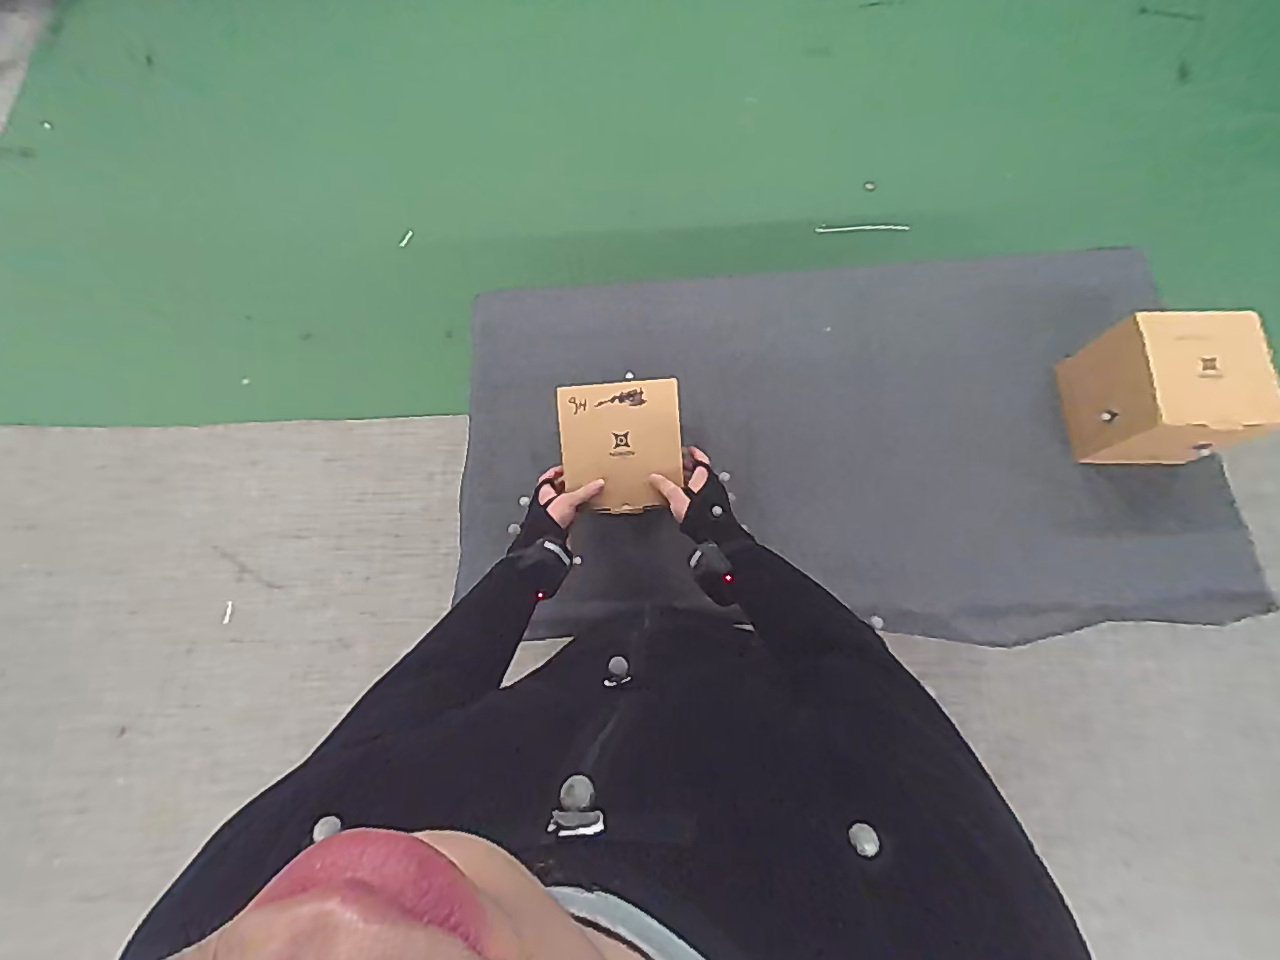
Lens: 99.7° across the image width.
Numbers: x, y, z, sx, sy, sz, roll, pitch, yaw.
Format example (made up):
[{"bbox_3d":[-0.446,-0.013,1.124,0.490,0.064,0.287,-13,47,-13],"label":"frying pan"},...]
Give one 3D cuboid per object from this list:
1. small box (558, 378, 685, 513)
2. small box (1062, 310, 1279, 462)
[{"bbox_3d":[-0.021,-0.053,0.809,0.168,0.176,0.179,-4,95,1],"label":"small box"},{"bbox_3d":[0.783,-0.131,0.809,0.168,0.176,0.179,1,73,3],"label":"small box"}]
